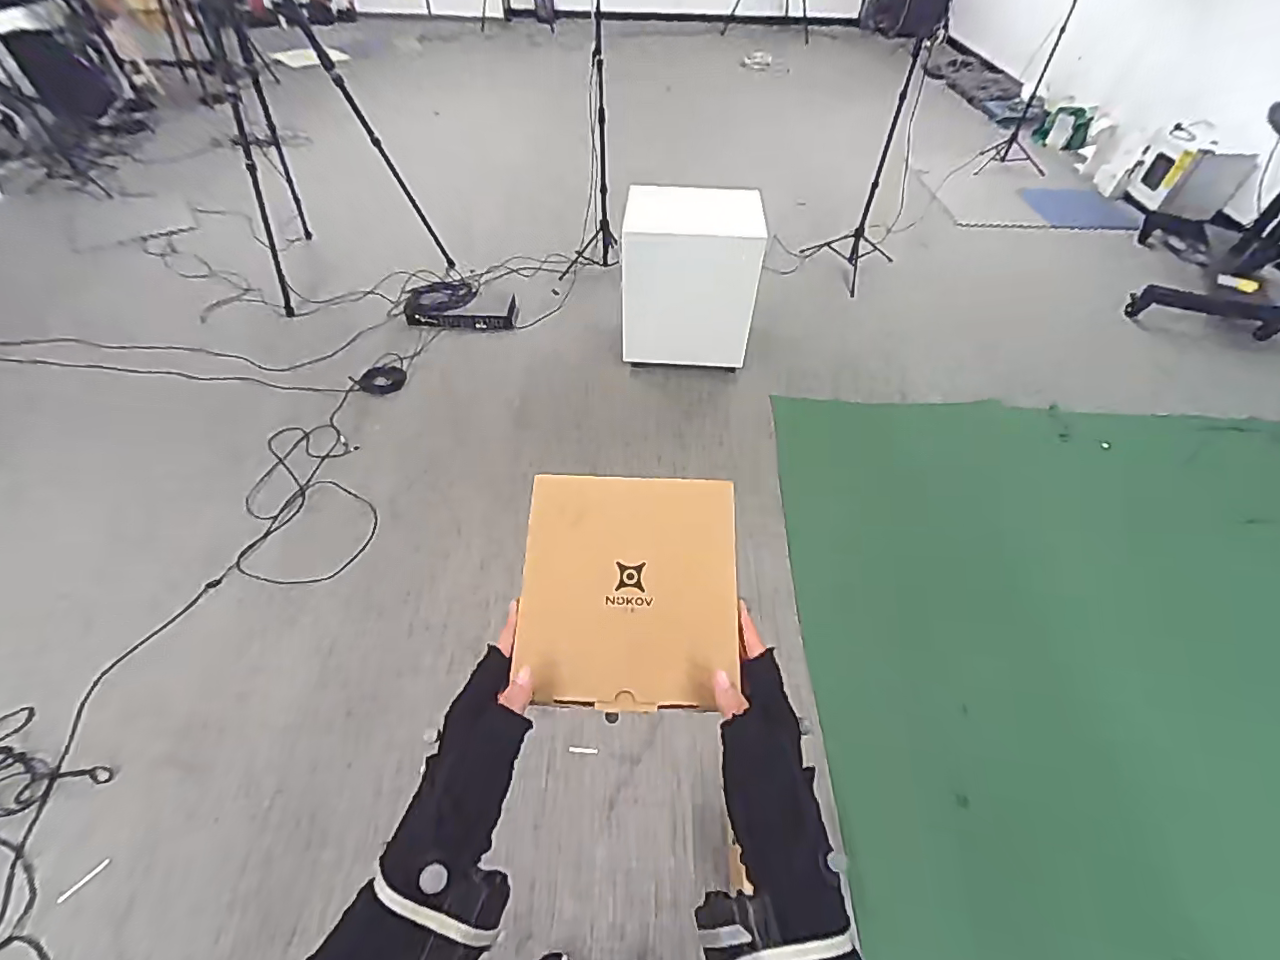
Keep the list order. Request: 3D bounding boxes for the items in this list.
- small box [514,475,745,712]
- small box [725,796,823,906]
[{"bbox_3d":[-0.006,0.109,0.483,0.168,0.176,0.179,1,67,0],"label":"small box"},{"bbox_3d":[0.278,0.801,1.164,0.168,0.176,0.179,3,49,0],"label":"small box"}]
